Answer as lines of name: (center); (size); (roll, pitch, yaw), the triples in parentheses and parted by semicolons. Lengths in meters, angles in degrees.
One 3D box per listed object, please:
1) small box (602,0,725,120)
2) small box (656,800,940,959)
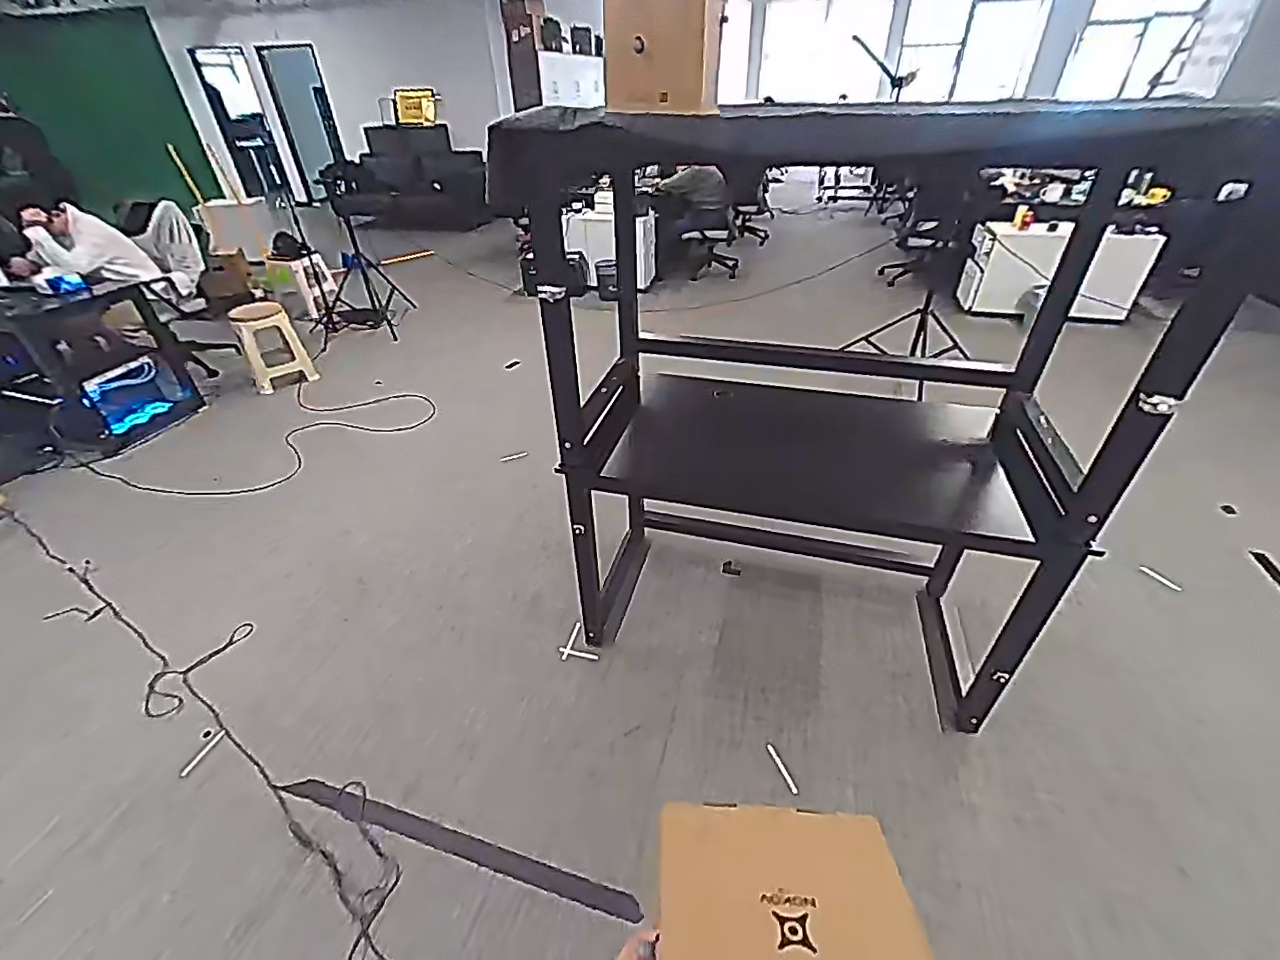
small box: (0.044, -0.717, 0.919); (0.168, 0.176, 0.179); (10, 35, 13)
small box: (0.094, 0.355, 0.359); (0.168, 0.176, 0.179); (2, 17, 2)
